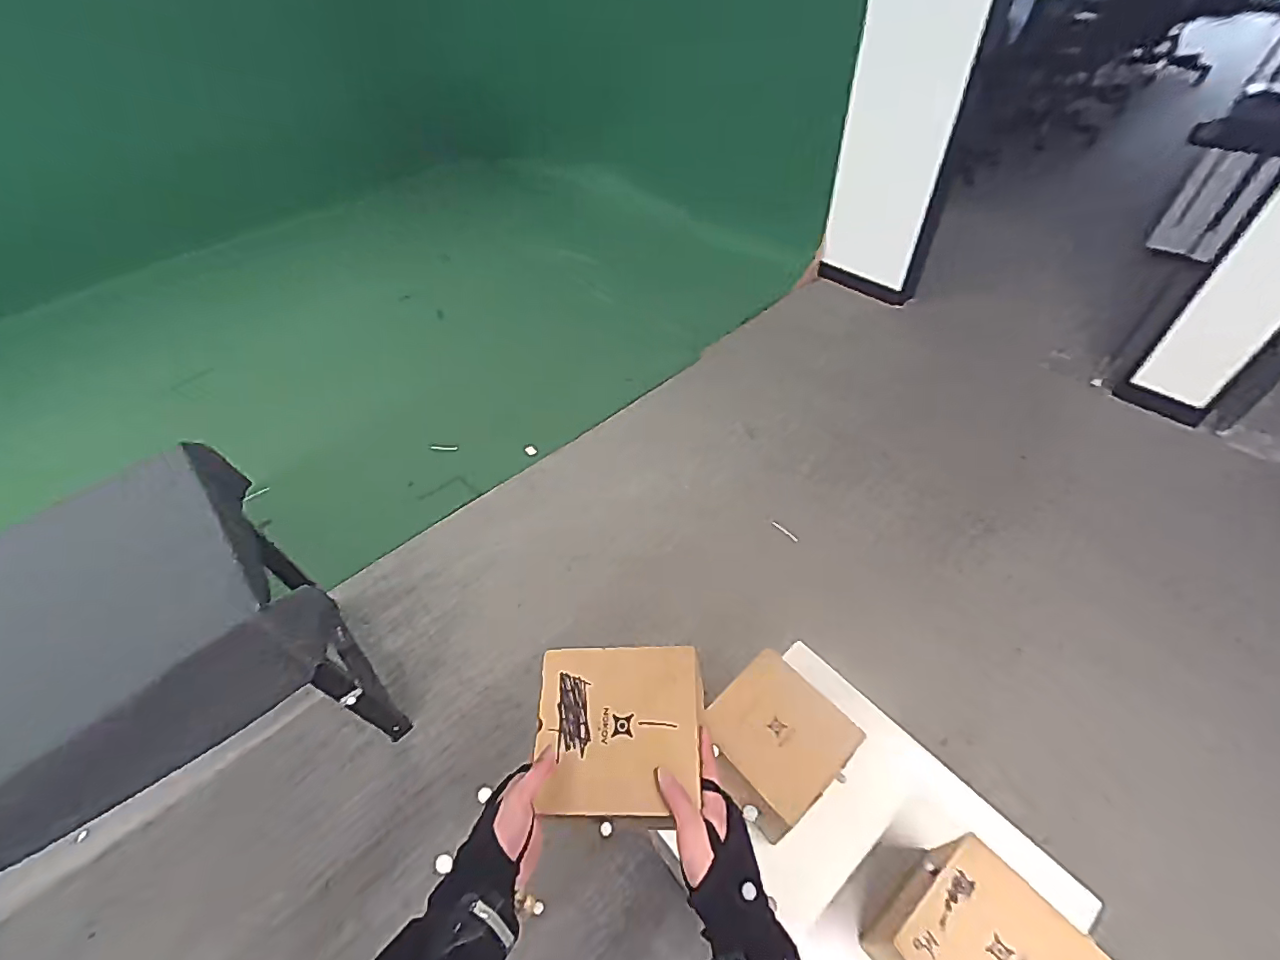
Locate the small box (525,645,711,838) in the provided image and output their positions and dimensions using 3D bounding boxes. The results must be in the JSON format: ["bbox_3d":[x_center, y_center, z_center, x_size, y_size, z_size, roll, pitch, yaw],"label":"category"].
[{"bbox_3d":[-0.014,0.300,0.611,0.179,0.176,0.168,-4,52,4],"label":"small box"}]

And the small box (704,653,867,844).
[{"bbox_3d":[0.192,0.398,0.795,0.168,0.176,0.179,-36,56,-27],"label":"small box"}]

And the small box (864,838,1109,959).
[{"bbox_3d":[0.401,0.568,0.635,0.168,0.176,0.179,-33,55,-25],"label":"small box"}]
